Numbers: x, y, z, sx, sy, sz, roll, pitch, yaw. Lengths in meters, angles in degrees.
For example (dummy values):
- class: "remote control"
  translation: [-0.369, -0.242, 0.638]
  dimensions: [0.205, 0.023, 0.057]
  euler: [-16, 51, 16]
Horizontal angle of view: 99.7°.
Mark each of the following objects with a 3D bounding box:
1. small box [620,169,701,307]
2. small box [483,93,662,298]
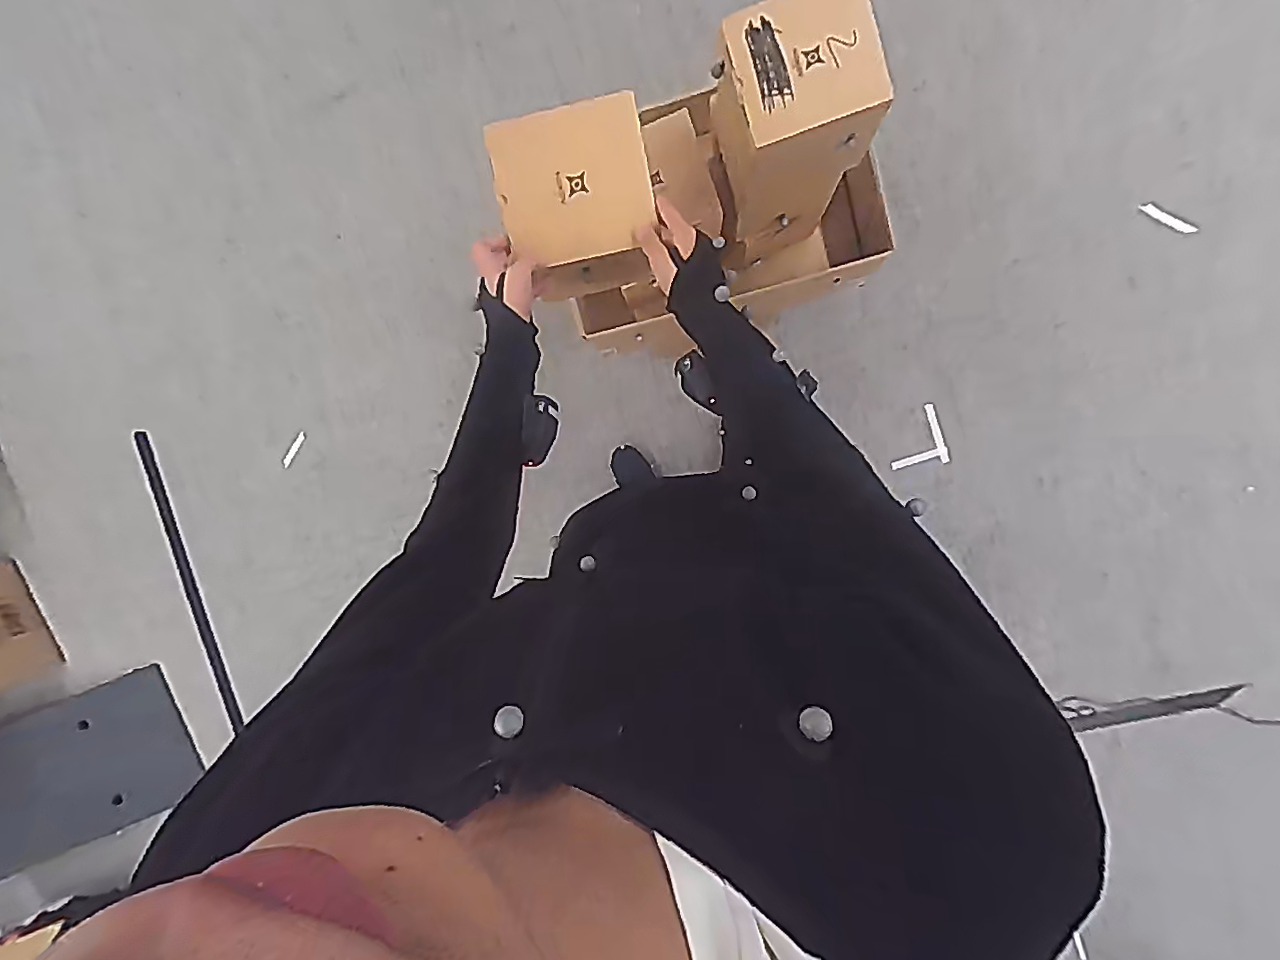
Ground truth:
- class: "small box"
  translation: [0.018, -0.478, 1.095]
  dimensions: [0.168, 0.176, 0.179]
  euler: [-19, 92, 7]
- class: "small box"
  translation: [-0.073, -0.342, 0.686]
  dimensions: [0.179, 0.176, 0.168]
  euler: [-12, 98, 5]
